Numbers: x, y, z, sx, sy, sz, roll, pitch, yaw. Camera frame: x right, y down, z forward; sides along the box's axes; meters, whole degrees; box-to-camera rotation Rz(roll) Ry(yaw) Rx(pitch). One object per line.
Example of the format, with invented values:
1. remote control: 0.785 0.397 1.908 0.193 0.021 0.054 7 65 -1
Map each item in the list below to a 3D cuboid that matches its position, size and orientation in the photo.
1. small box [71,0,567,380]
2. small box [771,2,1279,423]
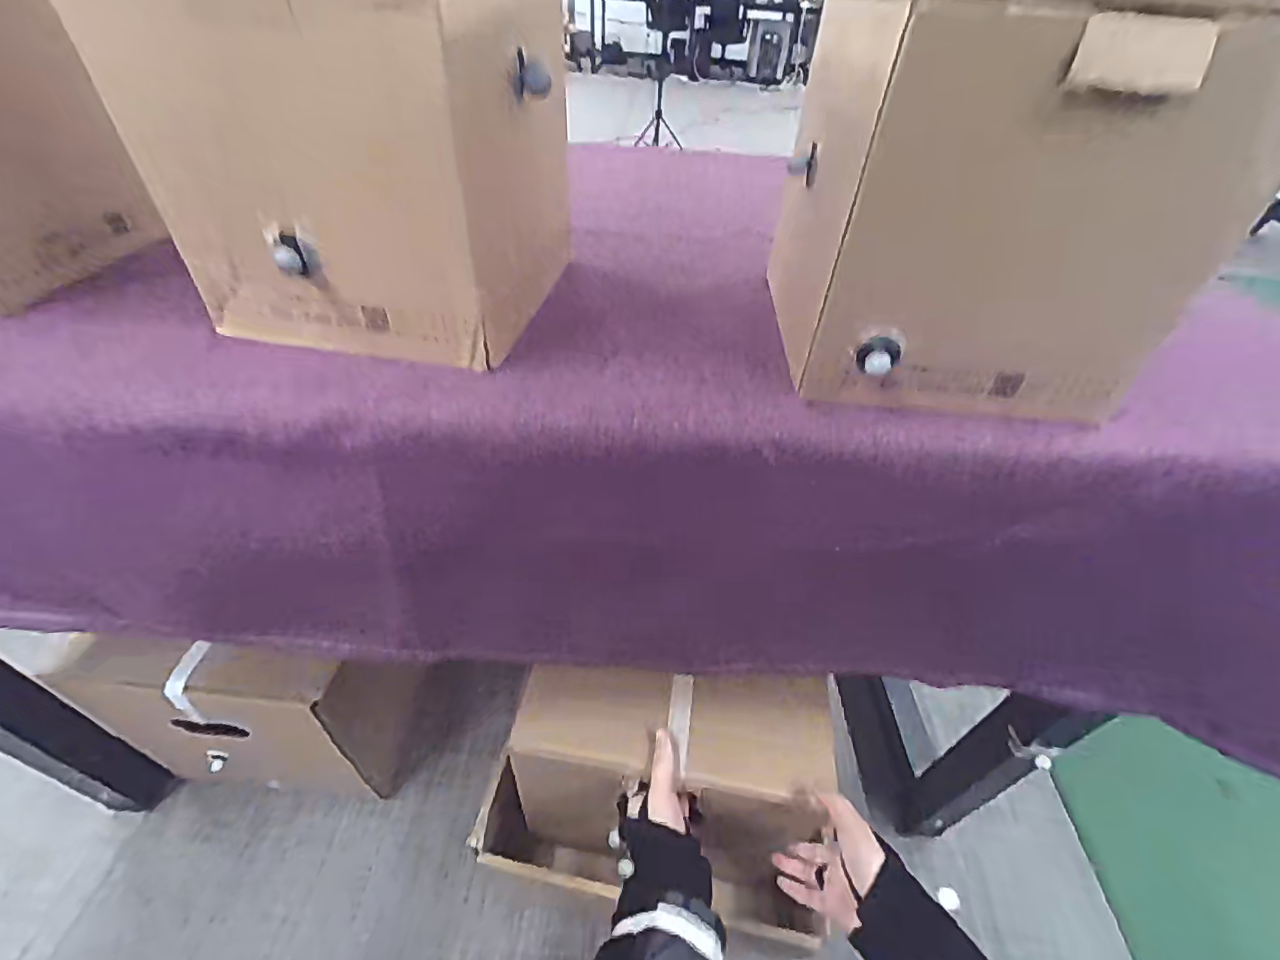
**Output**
1. small box: -0.143 -0.183 0.317 0.168 0.176 0.179 8 44 5
2. small box: 0.176 -0.149 0.301 0.168 0.176 0.179 5 42 2
